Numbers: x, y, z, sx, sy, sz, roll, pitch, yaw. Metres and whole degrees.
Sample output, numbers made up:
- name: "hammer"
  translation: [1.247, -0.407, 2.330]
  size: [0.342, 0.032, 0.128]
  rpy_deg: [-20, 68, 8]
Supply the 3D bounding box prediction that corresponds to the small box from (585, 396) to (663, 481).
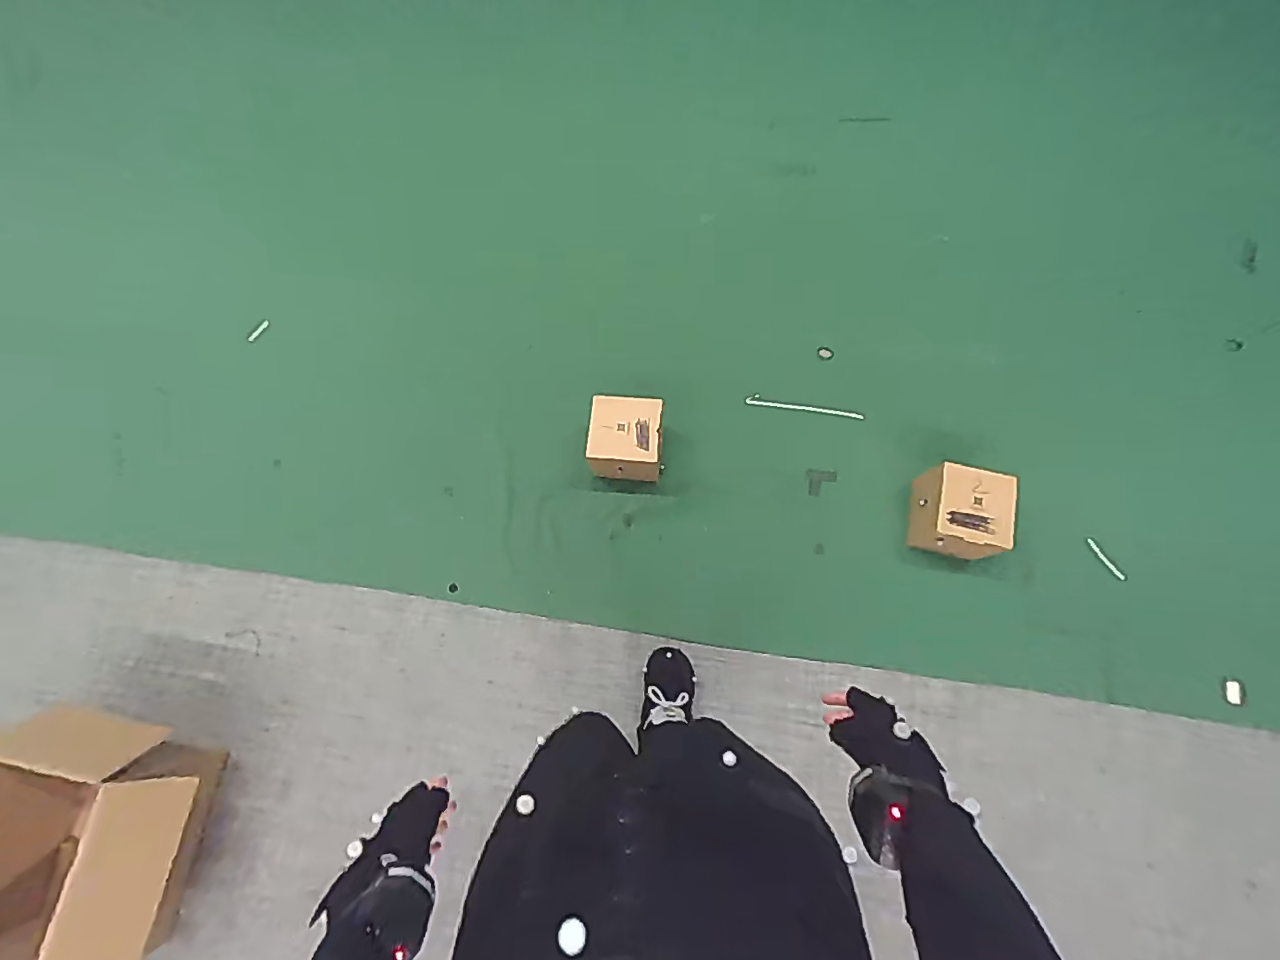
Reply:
- name: "small box"
  translation: [-0.034, -0.099, 1.382]
  size: [0.179, 0.176, 0.168]
  rpy_deg: [5, 74, 5]
